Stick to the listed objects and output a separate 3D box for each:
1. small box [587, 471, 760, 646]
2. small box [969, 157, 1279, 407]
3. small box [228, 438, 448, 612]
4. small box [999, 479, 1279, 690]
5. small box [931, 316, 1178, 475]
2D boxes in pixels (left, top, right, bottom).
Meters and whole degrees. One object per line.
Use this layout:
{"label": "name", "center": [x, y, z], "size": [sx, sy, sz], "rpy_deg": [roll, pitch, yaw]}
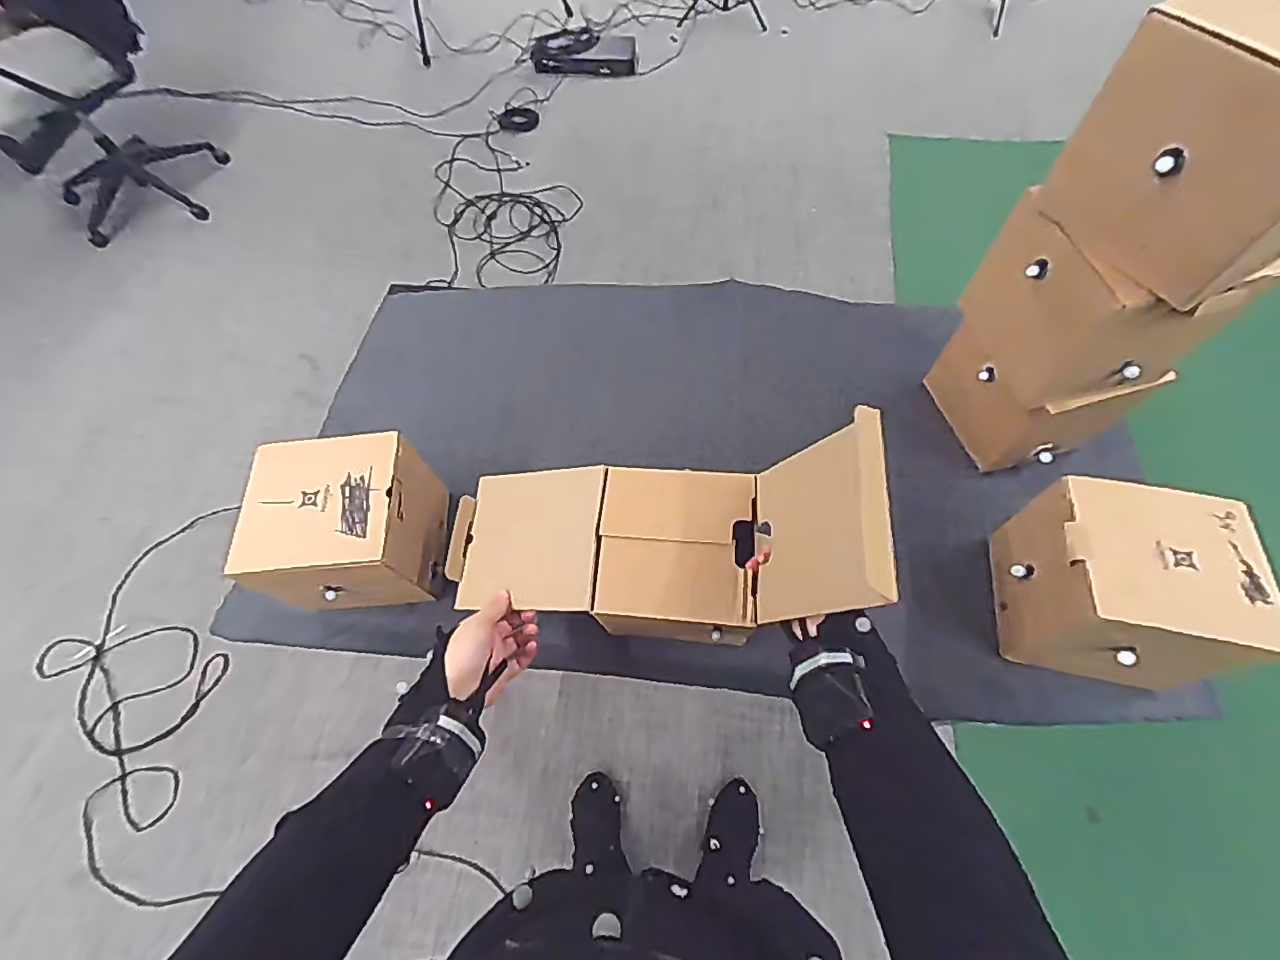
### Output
{"label": "small box", "center": [0.045, 0.100, 0.644], "size": [0.179, 0.176, 0.168], "rpy_deg": [3, 67, 6]}
{"label": "small box", "center": [0.504, -0.208, 0.593], "size": [0.168, 0.176, 0.179], "rpy_deg": [-13, 63, 1]}
{"label": "small box", "center": [-0.360, 0.064, 0.687], "size": [0.179, 0.176, 0.168], "rpy_deg": [-5, 63, 1]}
{"label": "small box", "center": [0.531, 0.122, 0.601], "size": [0.179, 0.176, 0.168], "rpy_deg": [10, 60, 9]}
{"label": "small box", "center": [0.537, -0.133, 0.737], "size": [0.168, 0.176, 0.179], "rpy_deg": [-15, 64, -2]}
